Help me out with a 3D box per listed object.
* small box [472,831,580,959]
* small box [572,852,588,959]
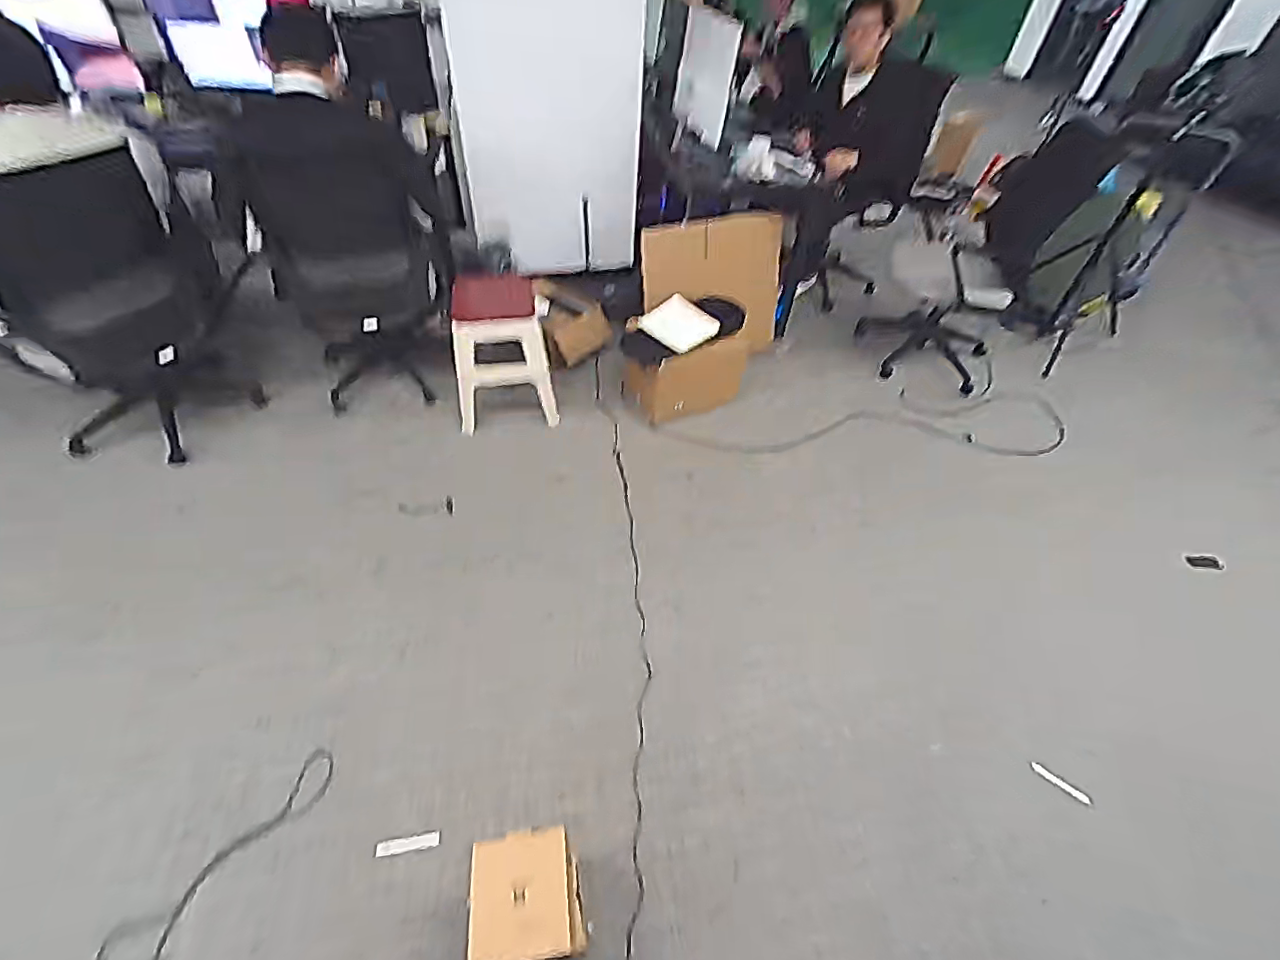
[{"bbox_3d":[-0.201,0.765,0.976,0.168,0.176,0.179,-7,48,-7],"label":"small box"},{"bbox_3d":[-0.200,0.879,1.092,0.179,0.176,0.168,-8,48,-9],"label":"small box"}]
